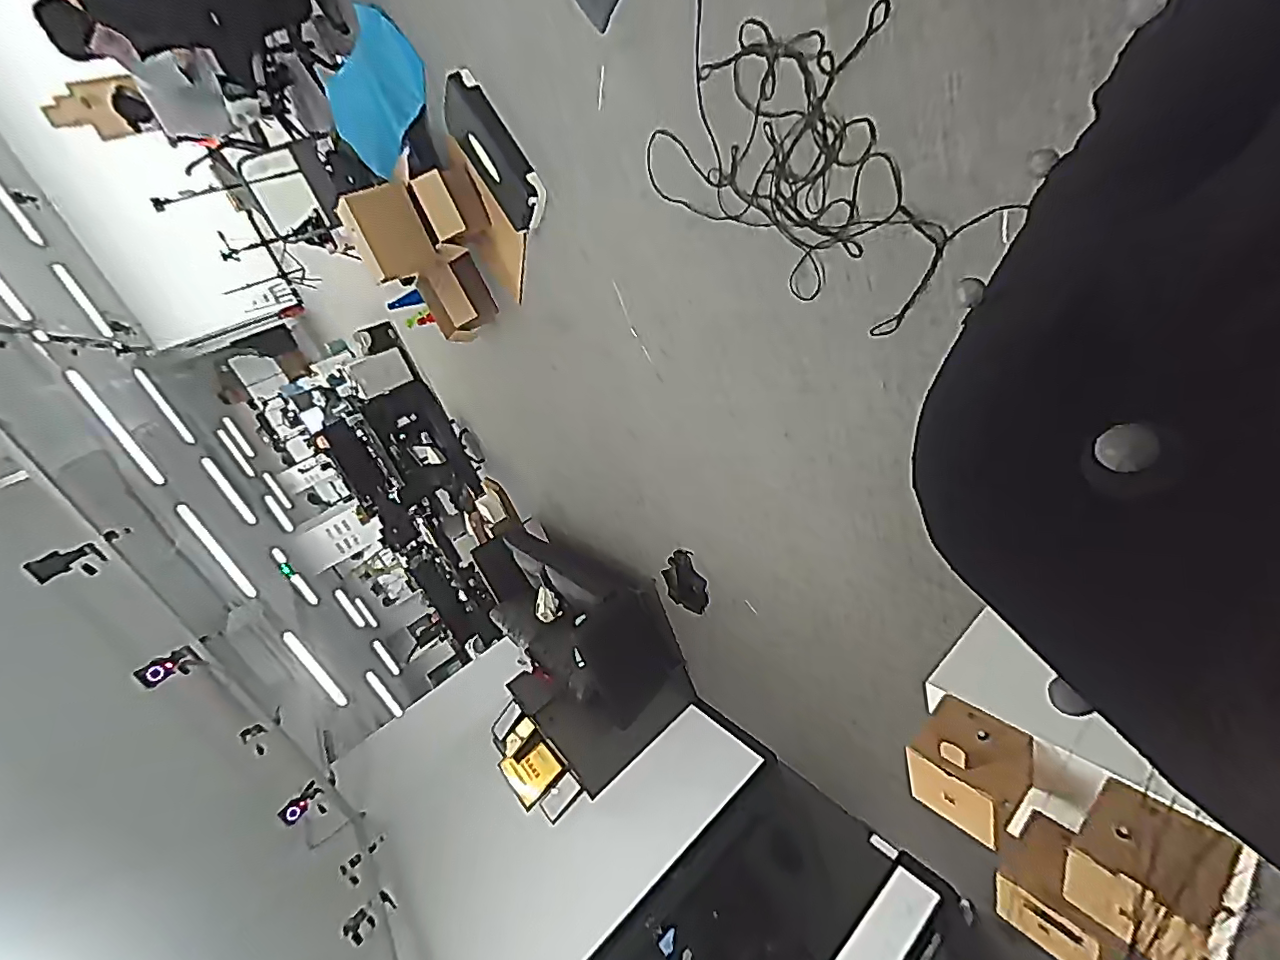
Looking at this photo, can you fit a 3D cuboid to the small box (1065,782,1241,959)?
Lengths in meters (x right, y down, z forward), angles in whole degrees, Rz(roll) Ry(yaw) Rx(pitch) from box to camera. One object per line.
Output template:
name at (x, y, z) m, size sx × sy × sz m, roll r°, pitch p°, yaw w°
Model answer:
small box at (0.833, 0.644, 0.885) m, size 0.168 × 0.176 × 0.179 m, roll 22°, pitch 140°, yaw 53°

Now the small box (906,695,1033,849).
small box at (0.673, 0.585, 1.102) m, size 0.168 × 0.176 × 0.179 m, roll 20°, pitch 137°, yaw 52°
